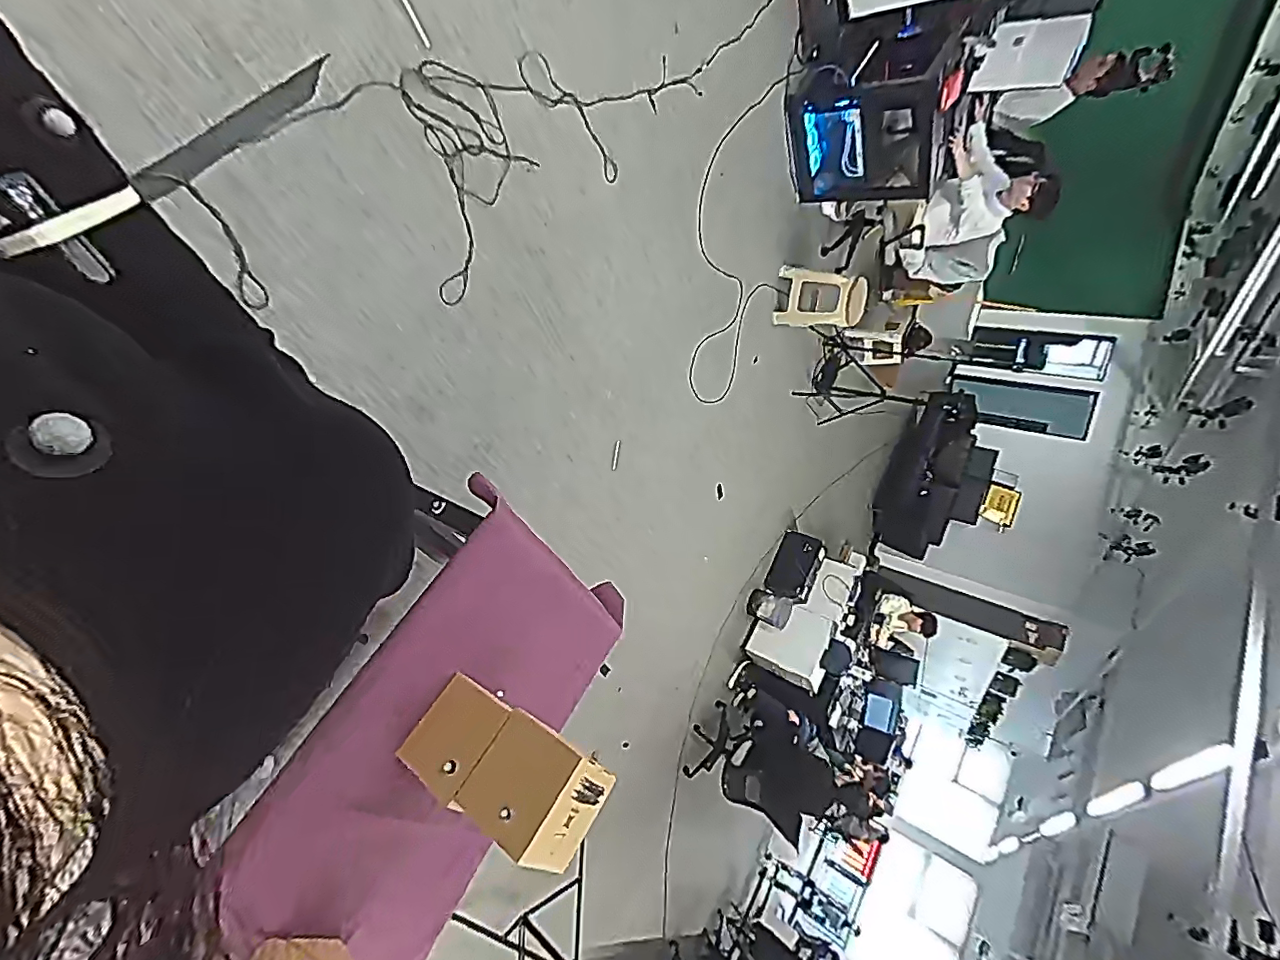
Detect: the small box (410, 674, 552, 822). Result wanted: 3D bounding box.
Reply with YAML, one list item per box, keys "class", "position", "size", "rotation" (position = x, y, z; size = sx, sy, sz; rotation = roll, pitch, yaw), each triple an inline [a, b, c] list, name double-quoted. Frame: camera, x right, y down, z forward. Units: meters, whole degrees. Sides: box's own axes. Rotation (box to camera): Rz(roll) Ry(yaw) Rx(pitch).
- class: "small box"
  position: [-0.311, 0.512, 1.043]
  size: [0.179, 0.176, 0.168]
  rotation: [-54, 142, -25]

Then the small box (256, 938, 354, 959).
- class: "small box"
  position: [-0.556, 0.882, 0.868]
  size: [0.168, 0.176, 0.179]
  rotation: [-55, 142, -24]
